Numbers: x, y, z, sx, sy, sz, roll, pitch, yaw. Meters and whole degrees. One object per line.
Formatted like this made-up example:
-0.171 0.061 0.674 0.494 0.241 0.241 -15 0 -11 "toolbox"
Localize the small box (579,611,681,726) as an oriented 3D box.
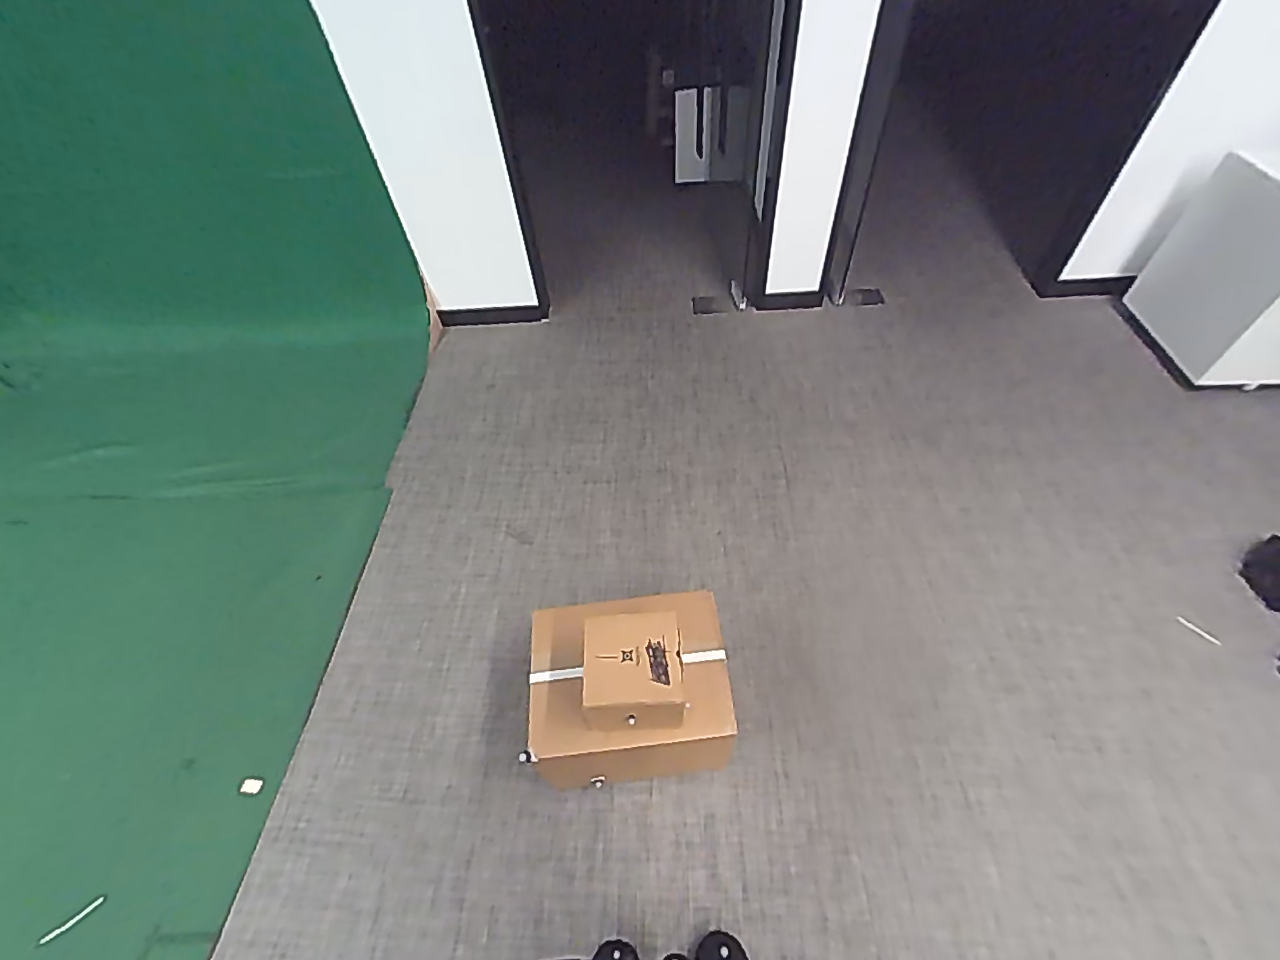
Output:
-0.015 0.364 1.037 0.179 0.176 0.168 -4 52 2 "small box"
